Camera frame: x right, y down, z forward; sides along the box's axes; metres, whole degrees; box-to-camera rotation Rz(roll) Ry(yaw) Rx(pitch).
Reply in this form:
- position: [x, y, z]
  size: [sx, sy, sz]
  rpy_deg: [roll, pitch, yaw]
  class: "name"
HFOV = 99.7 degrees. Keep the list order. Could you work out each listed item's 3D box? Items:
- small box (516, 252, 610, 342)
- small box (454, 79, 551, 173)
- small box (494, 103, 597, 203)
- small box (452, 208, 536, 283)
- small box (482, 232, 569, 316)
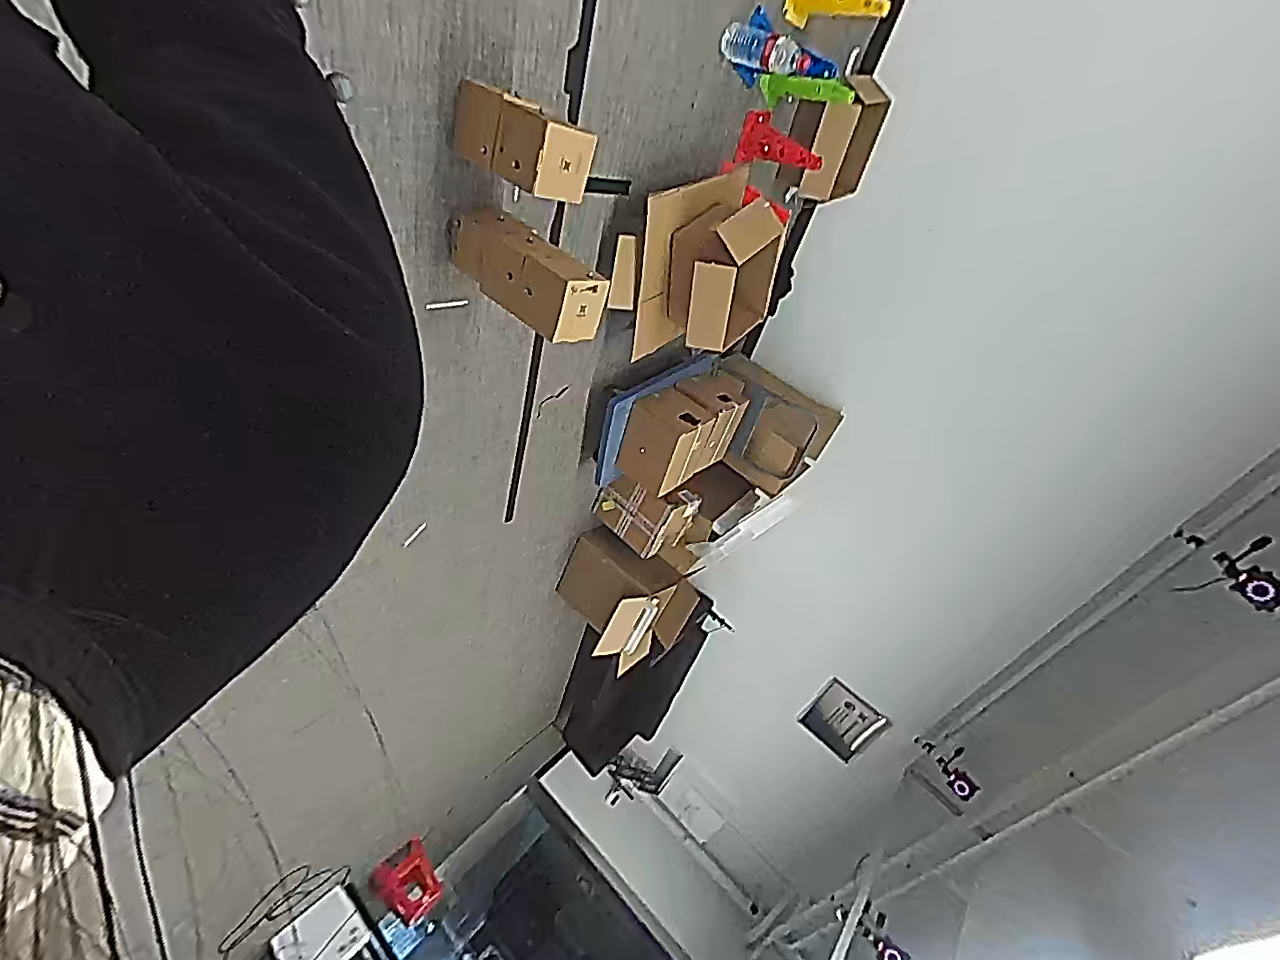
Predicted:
- position: [-0.216, -0.501, 1.485]
  size: [0.168, 0.176, 0.179]
  rpy_deg: [-24, 146, -48]
  class: "small box"
- position: [-0.368, -0.923, 1.429]
  size: [0.168, 0.176, 0.179]
  rpy_deg: [-24, 145, -49]
  class: "small box"
- position: [-0.246, -0.830, 1.376]
  size: [0.179, 0.176, 0.168]
  rpy_deg: [-27, 149, -49]
  class: "small box"
- position: [-0.441, -0.699, 1.621]
  size: [0.179, 0.176, 0.168]
  rpy_deg: [-29, 149, -44]
  class: "small box"
- position: [-0.333, -0.596, 1.550]
  size: [0.168, 0.176, 0.179]
  rpy_deg: [-26, 147, -45]
  class: "small box"
